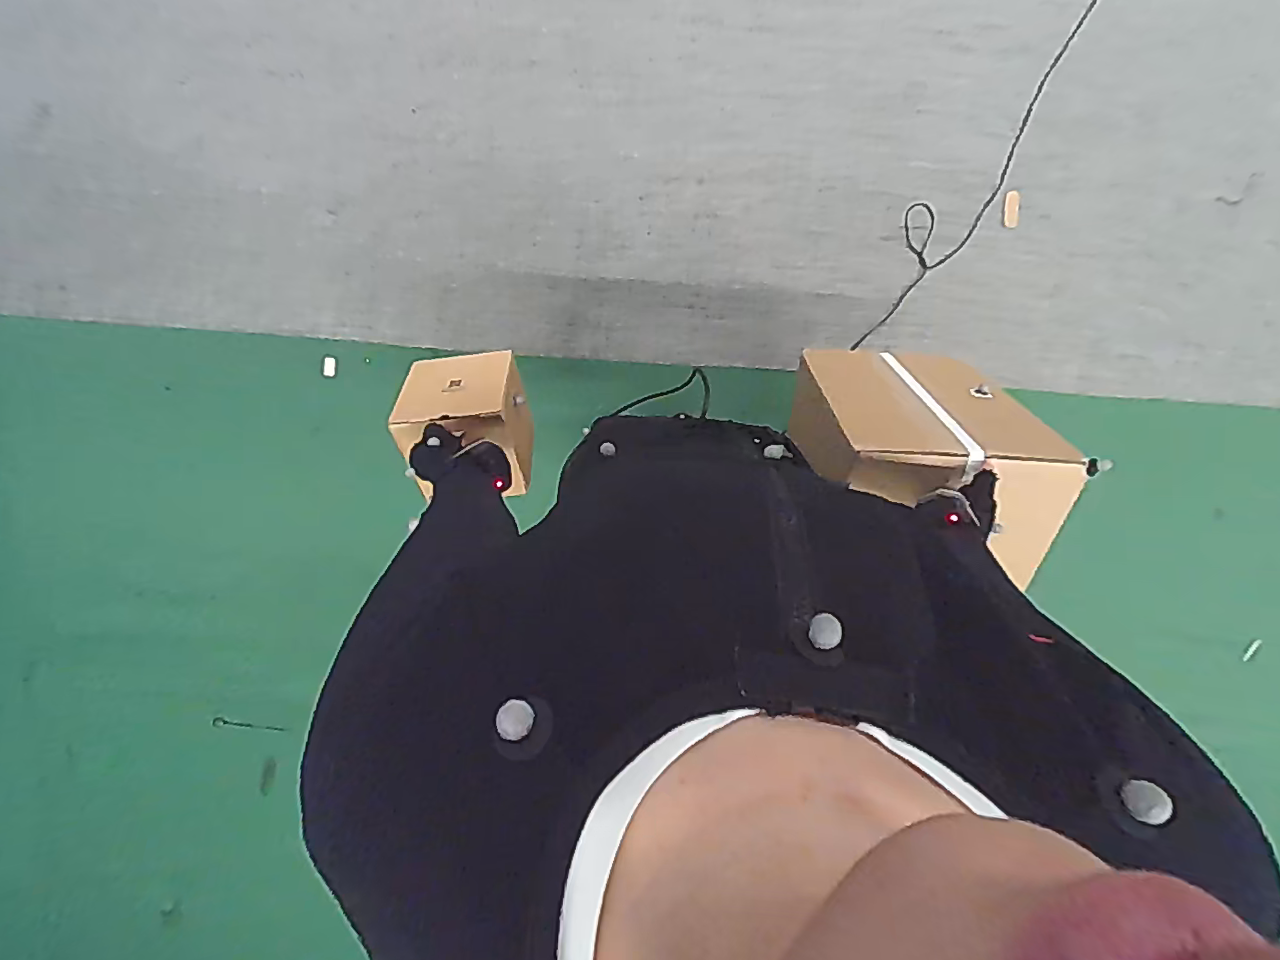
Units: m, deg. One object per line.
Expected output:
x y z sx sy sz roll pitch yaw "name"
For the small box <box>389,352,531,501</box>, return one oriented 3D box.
-0.281 -0.088 0.891 0.168 0.179 0.176 -7 134 0 "small box"
